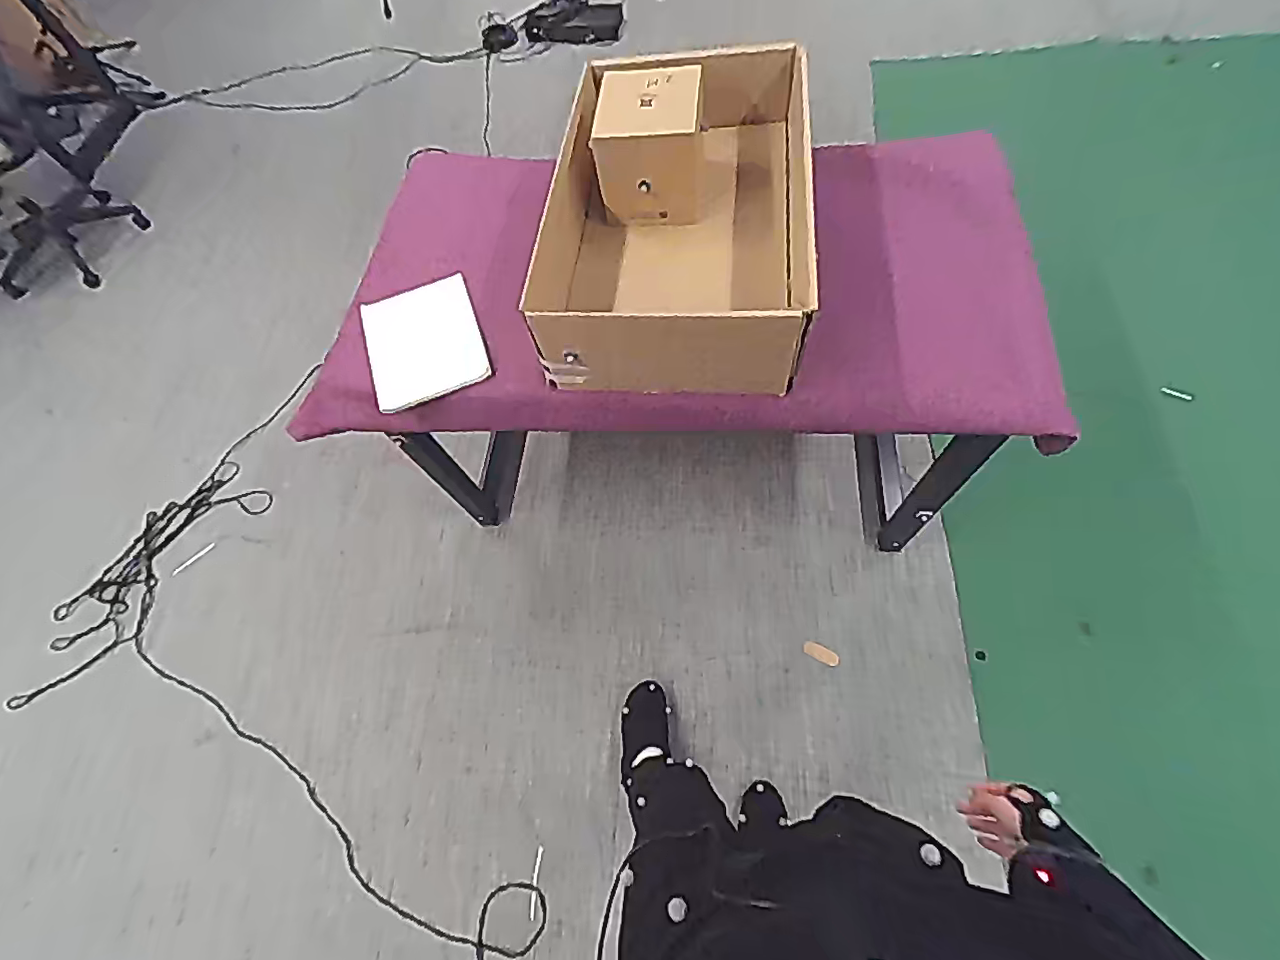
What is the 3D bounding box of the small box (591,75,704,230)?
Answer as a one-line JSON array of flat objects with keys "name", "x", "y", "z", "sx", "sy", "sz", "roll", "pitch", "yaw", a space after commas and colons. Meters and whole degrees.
[{"name": "small box", "x": 0.023, "y": -0.562, "z": 0.947, "sx": 0.168, "sy": 0.176, "sz": 0.179, "roll": 3, "pitch": 65, "yaw": 9}]
